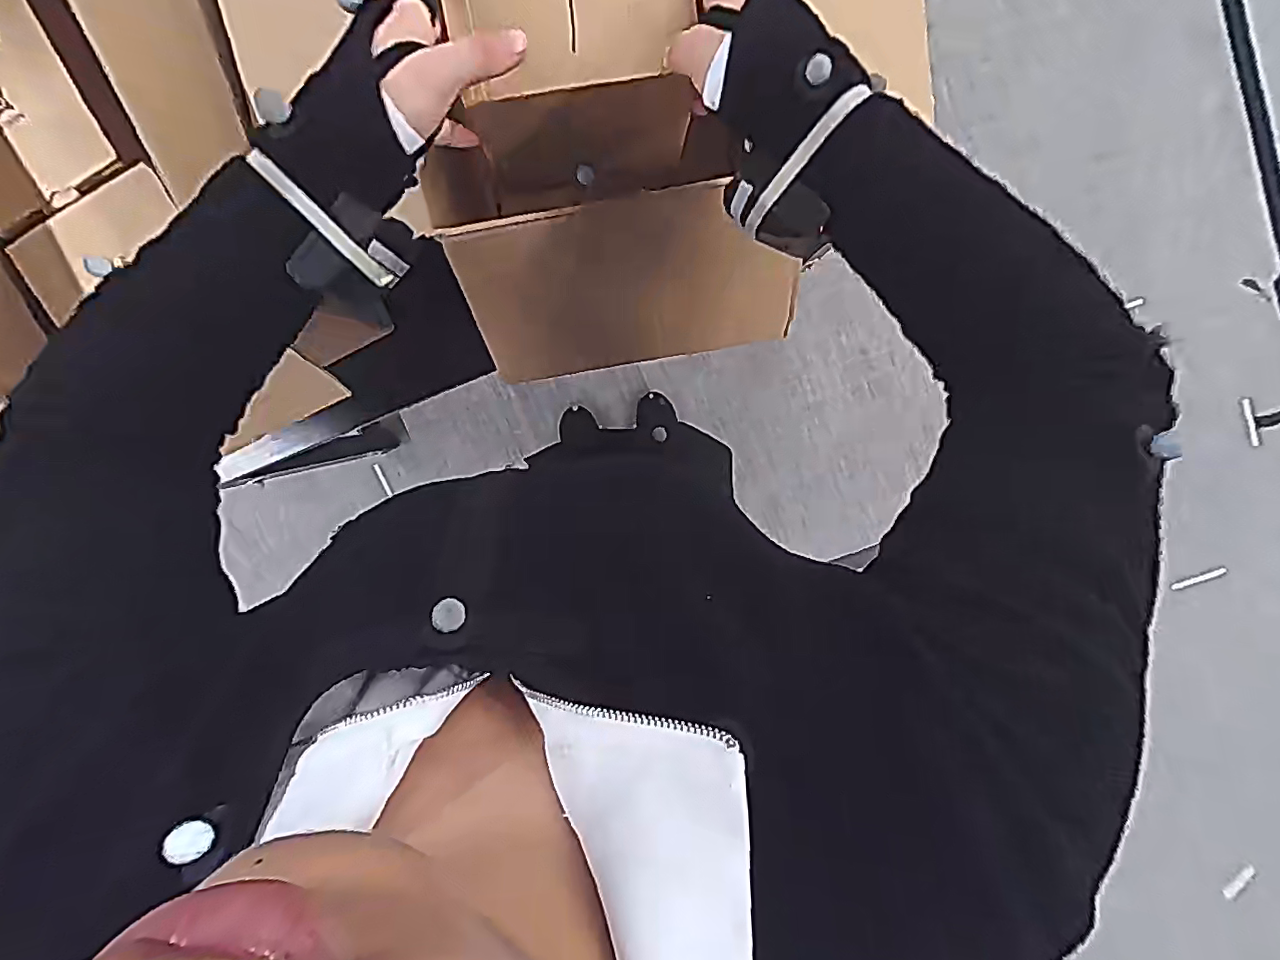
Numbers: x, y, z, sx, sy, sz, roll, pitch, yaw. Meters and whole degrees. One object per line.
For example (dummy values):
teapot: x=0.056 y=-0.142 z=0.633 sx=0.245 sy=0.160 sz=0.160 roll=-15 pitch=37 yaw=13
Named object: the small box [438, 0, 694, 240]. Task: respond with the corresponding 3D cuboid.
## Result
small box: x=-0.058 y=-0.325 z=0.450 sx=0.168 sy=0.176 sz=0.179 roll=-10 pitch=99 yaw=-1
